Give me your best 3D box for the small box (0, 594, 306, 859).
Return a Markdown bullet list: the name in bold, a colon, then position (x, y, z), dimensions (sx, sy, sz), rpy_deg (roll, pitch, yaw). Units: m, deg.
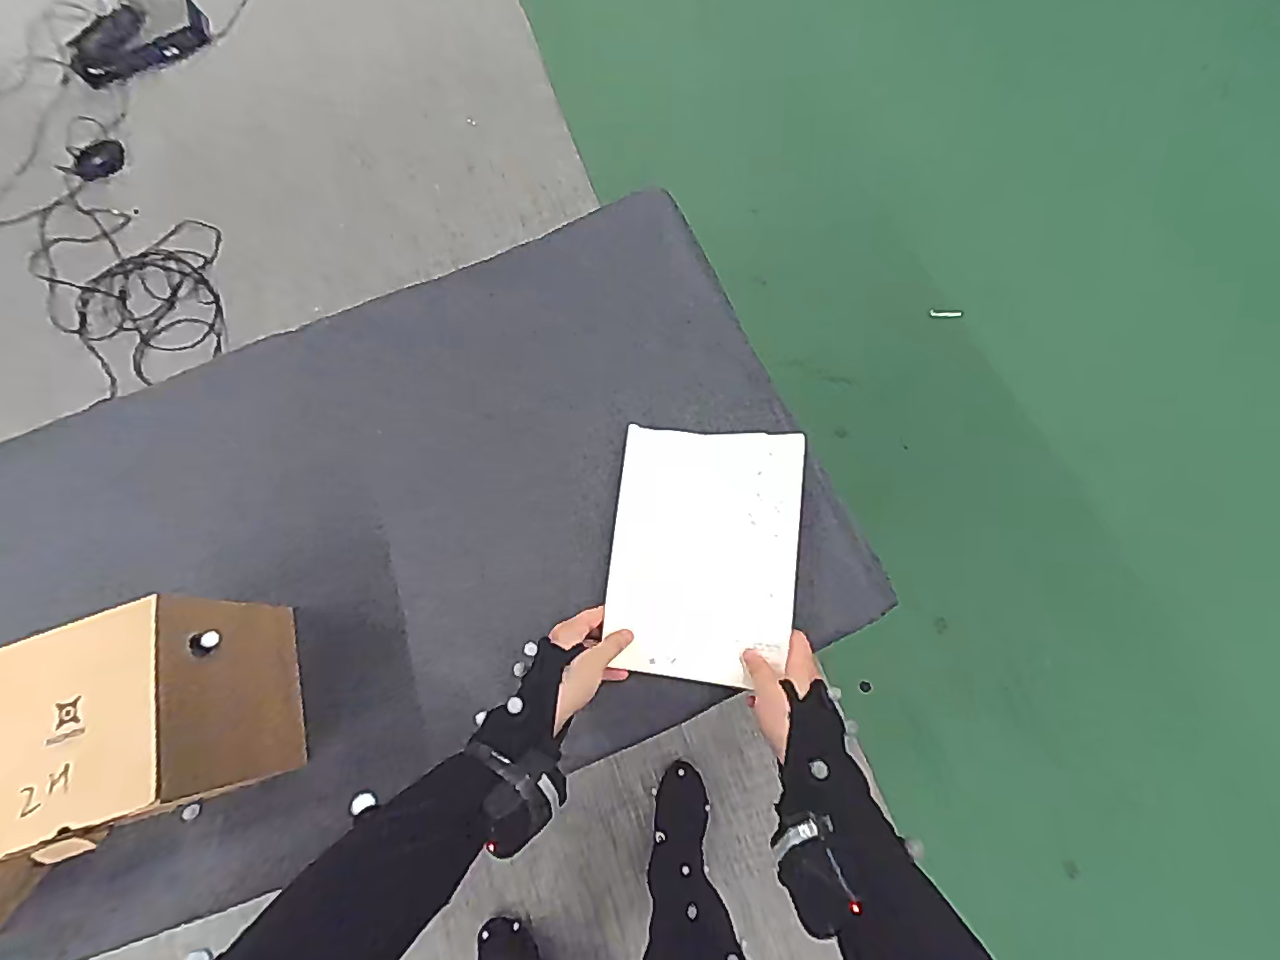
- **small box**: position (-0.468, 0.229, 0.533), dimensions (0.168, 0.176, 0.179), rpy_deg (-20, 72, 2)
